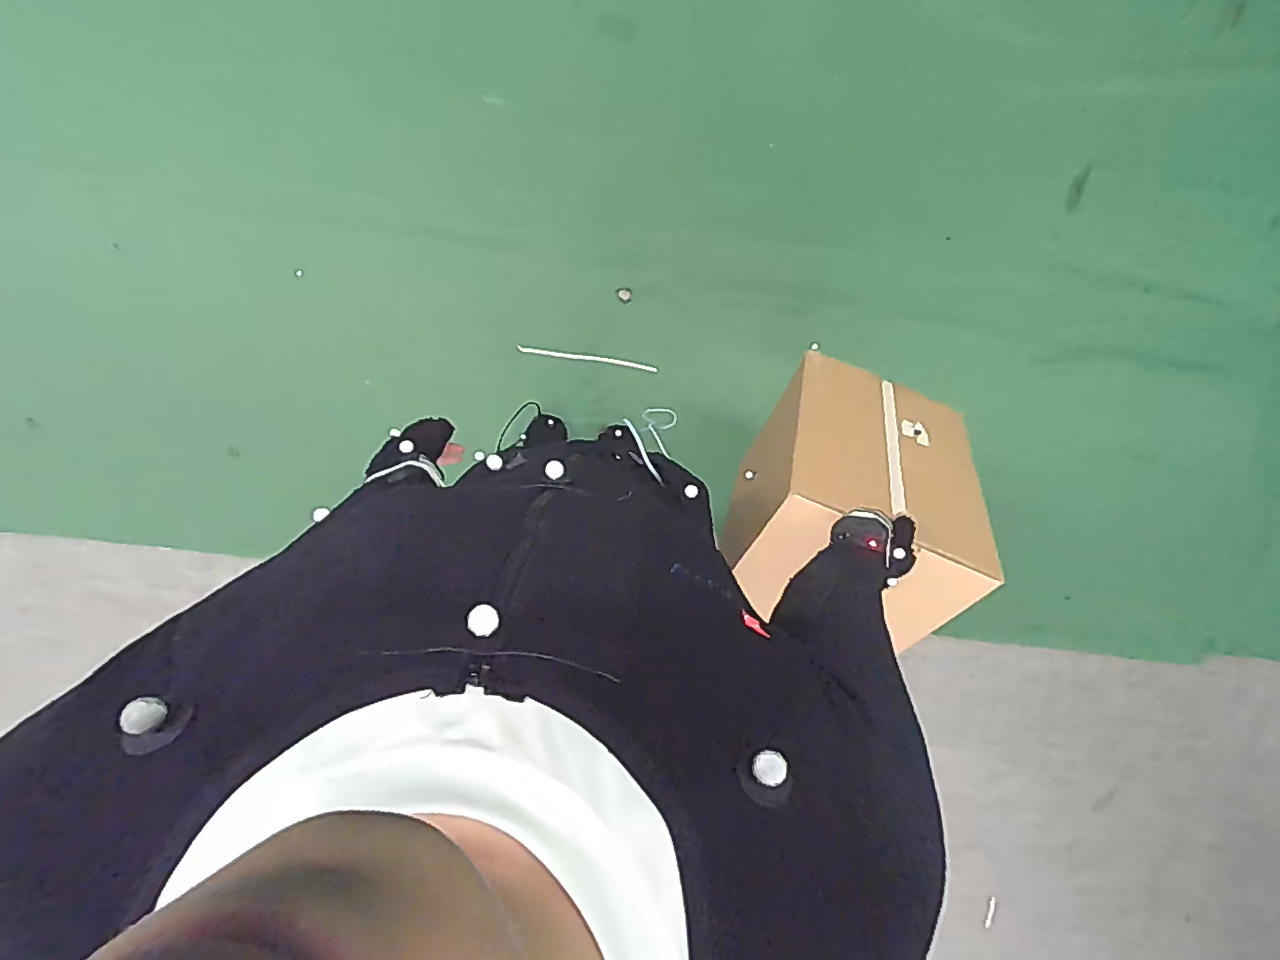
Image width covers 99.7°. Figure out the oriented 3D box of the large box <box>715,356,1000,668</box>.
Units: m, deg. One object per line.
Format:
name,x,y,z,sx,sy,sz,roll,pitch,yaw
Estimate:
large box,0.355,0.051,0.971,0.320,0.408,0.320,24,134,-1
